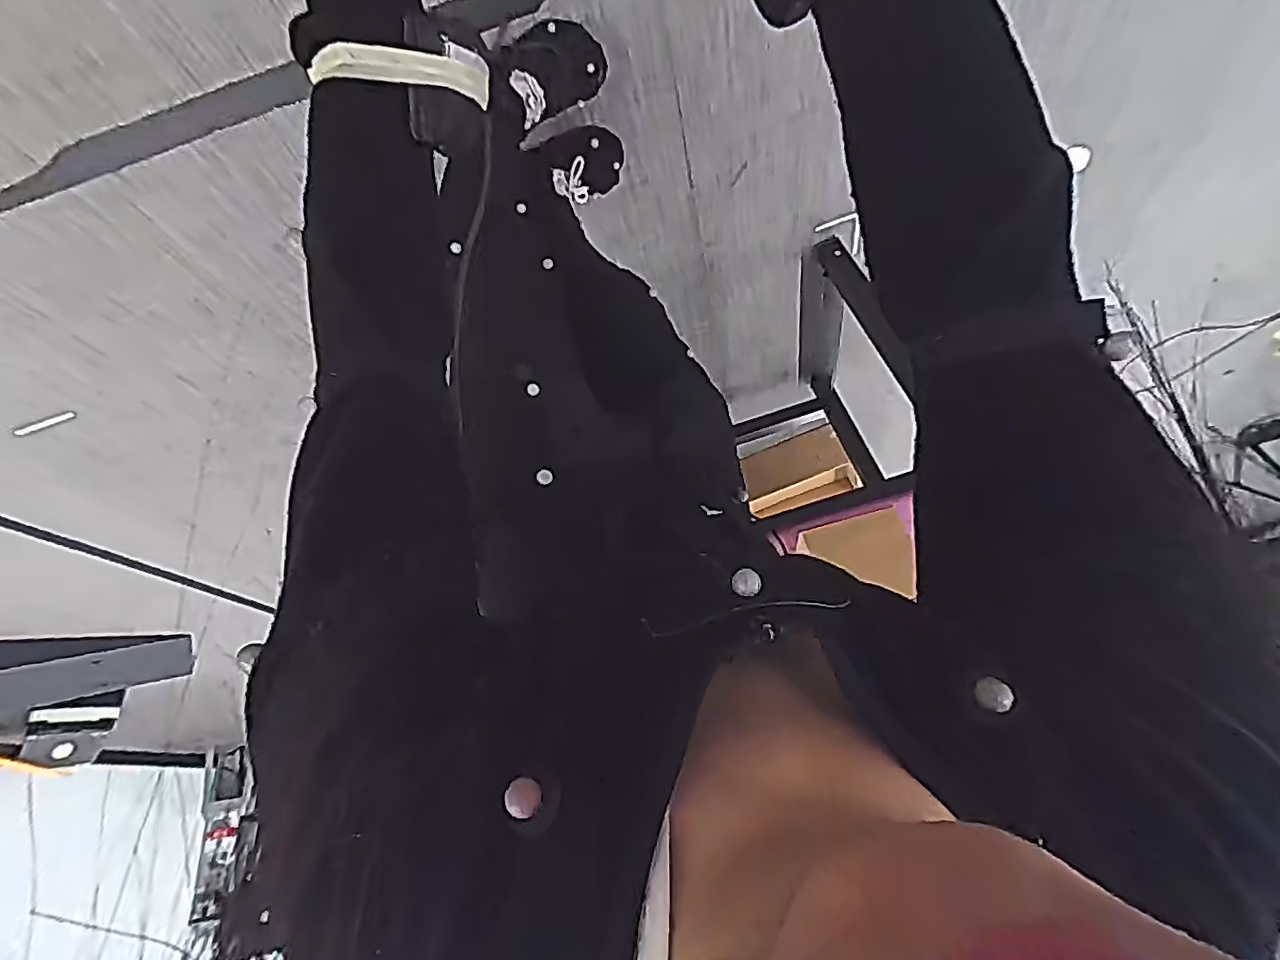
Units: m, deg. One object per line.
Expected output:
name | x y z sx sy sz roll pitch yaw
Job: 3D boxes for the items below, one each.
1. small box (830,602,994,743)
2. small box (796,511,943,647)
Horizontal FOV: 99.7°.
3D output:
small box | 0.433 0.320 0.898 0.168 0.176 0.179 -16 147 1
small box | 0.397 0.180 0.977 0.179 0.176 0.168 -16 149 0
